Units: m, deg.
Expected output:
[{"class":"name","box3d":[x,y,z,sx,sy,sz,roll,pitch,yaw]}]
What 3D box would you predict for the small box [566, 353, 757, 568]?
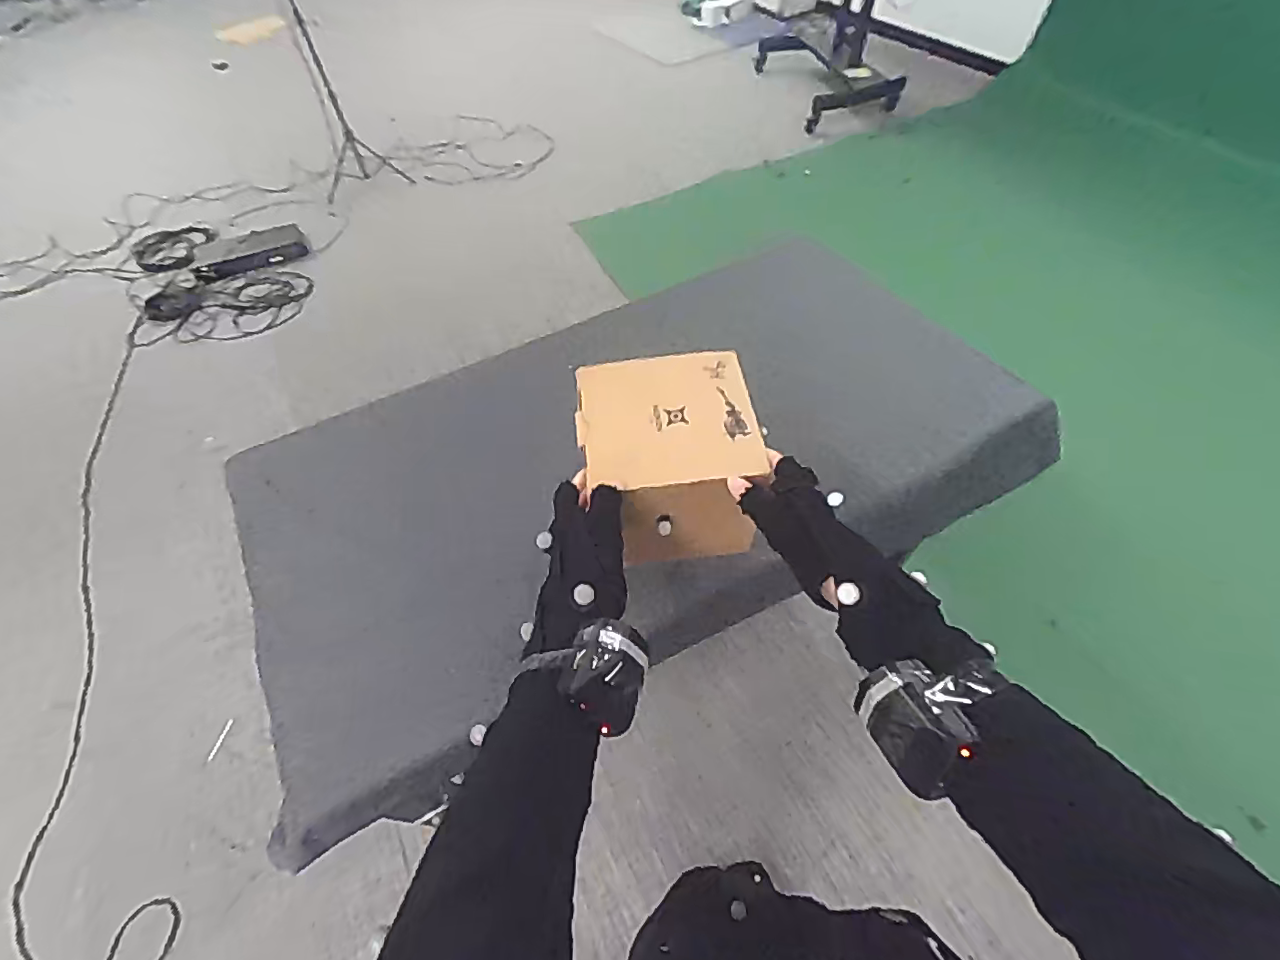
[{"class":"small box","box3d":[0.021,-0.015,0.608,0.179,0.176,0.168,-8,57,-2]}]
